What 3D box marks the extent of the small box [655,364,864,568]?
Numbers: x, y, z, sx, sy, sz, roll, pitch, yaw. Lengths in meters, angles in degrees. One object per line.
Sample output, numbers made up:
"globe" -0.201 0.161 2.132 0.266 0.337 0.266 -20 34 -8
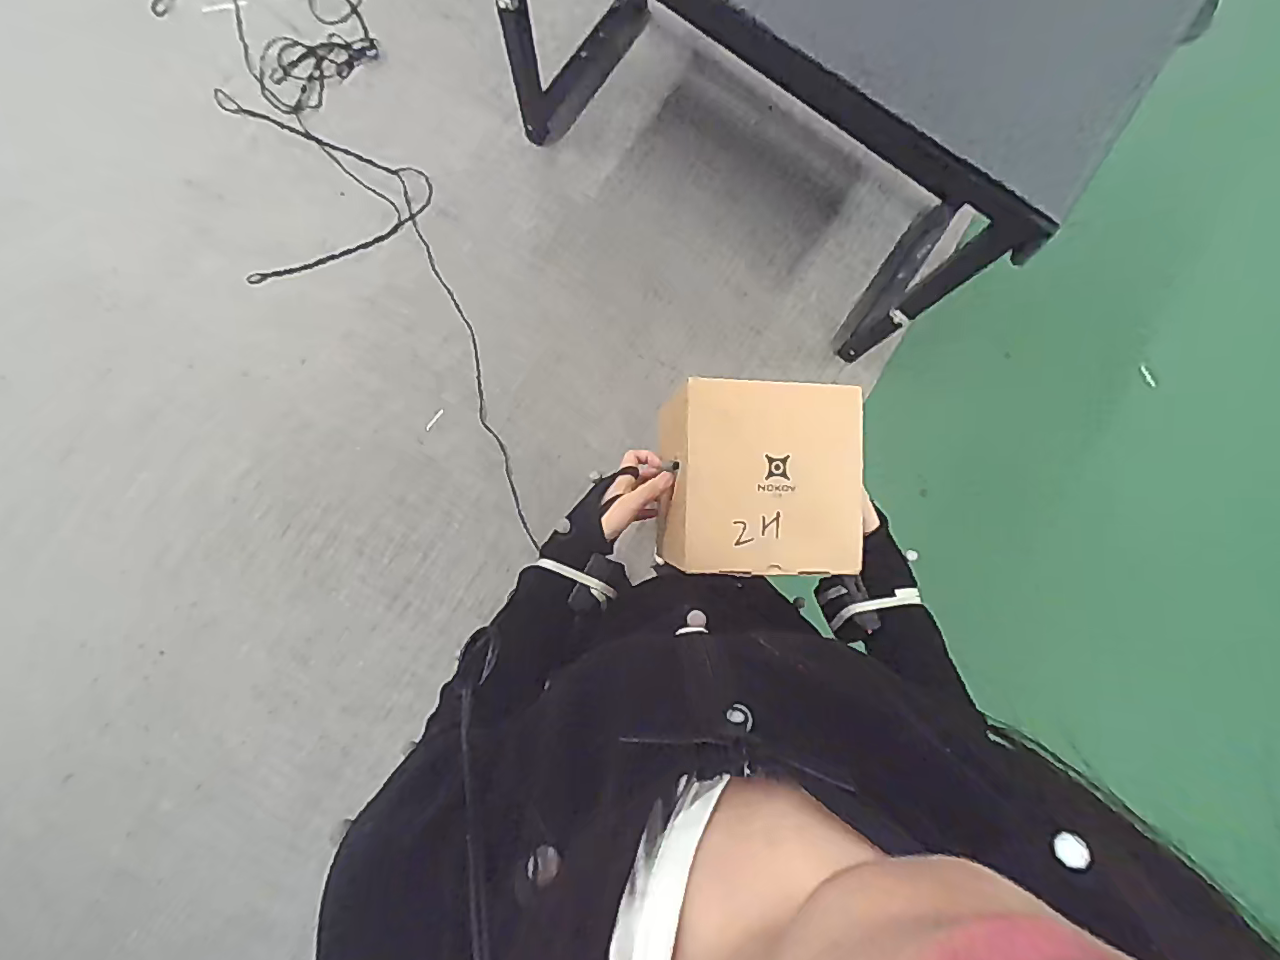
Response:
"small box" 0.108 -0.006 0.553 0.168 0.176 0.179 2 87 -6
